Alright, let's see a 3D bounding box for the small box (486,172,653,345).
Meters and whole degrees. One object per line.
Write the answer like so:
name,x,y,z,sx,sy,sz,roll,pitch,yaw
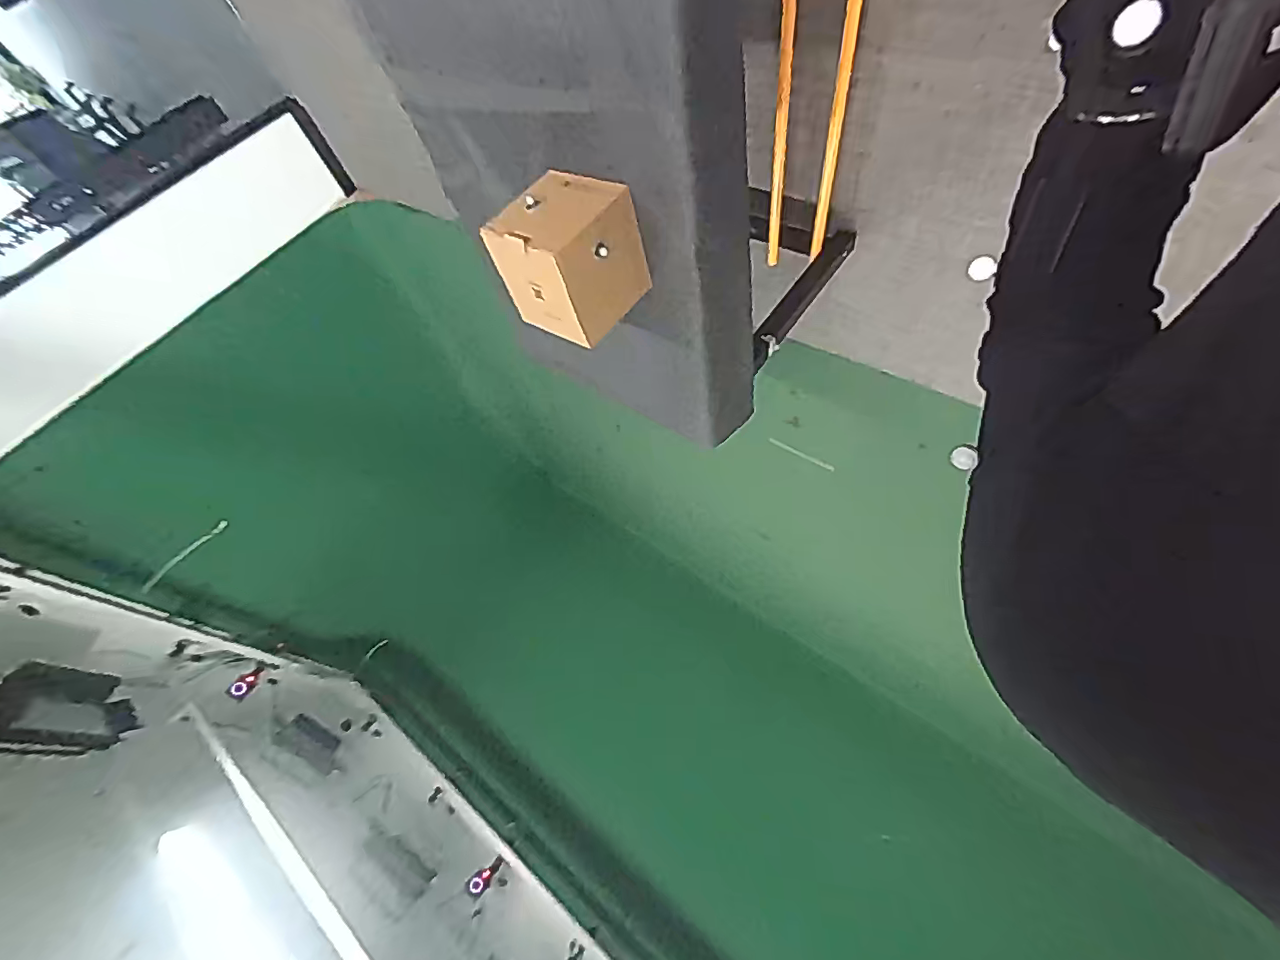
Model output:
small box,-0.102,-0.354,0.857,0.168,0.176,0.179,30,160,29
